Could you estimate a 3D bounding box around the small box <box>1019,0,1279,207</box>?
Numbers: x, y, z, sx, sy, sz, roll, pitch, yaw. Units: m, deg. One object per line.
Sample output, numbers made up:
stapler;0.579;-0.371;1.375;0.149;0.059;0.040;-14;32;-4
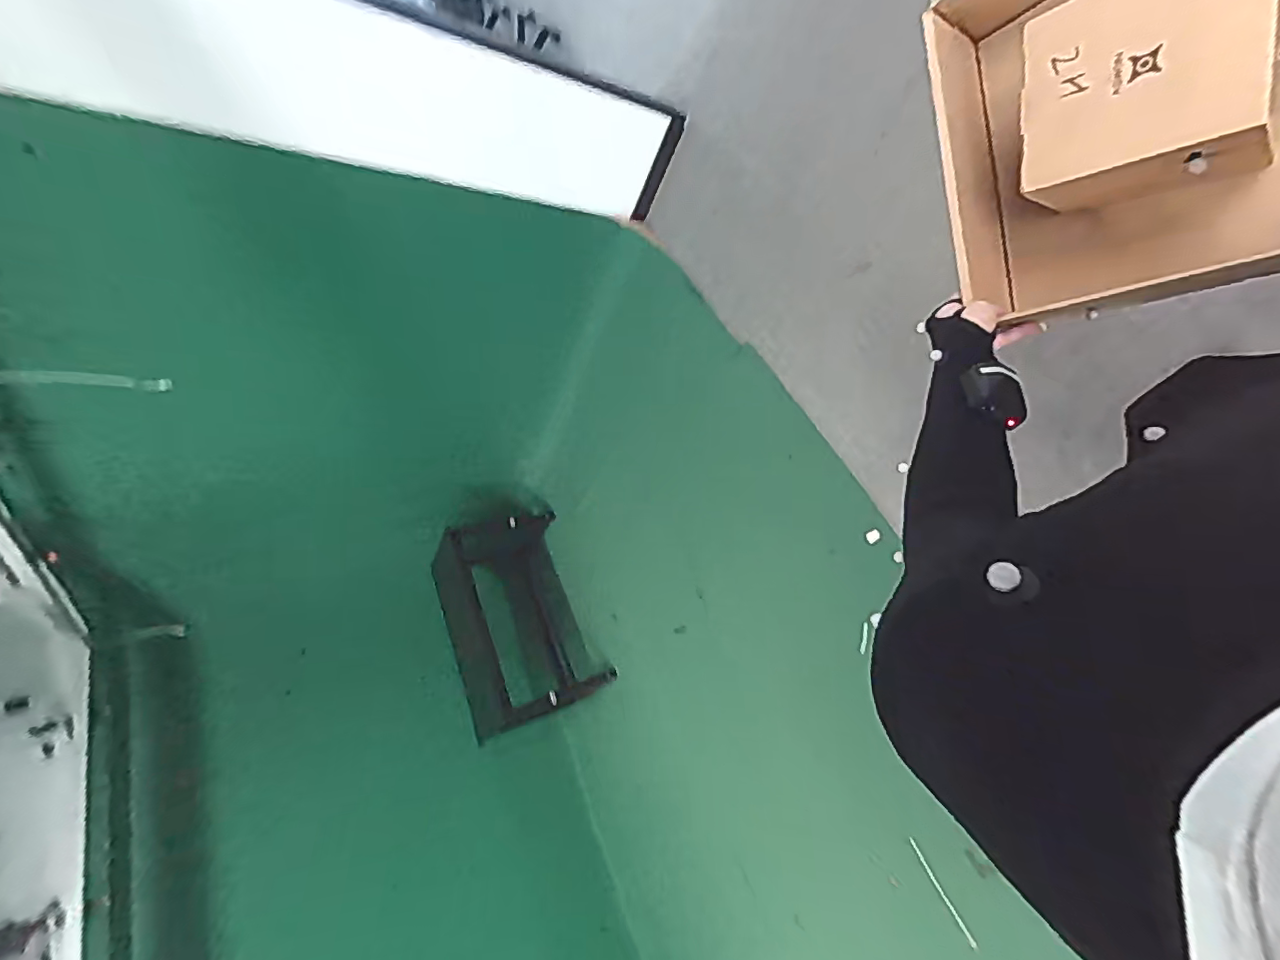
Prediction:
small box;0.512;-0.391;0.541;0.179;0.176;0.168;8;106;50
